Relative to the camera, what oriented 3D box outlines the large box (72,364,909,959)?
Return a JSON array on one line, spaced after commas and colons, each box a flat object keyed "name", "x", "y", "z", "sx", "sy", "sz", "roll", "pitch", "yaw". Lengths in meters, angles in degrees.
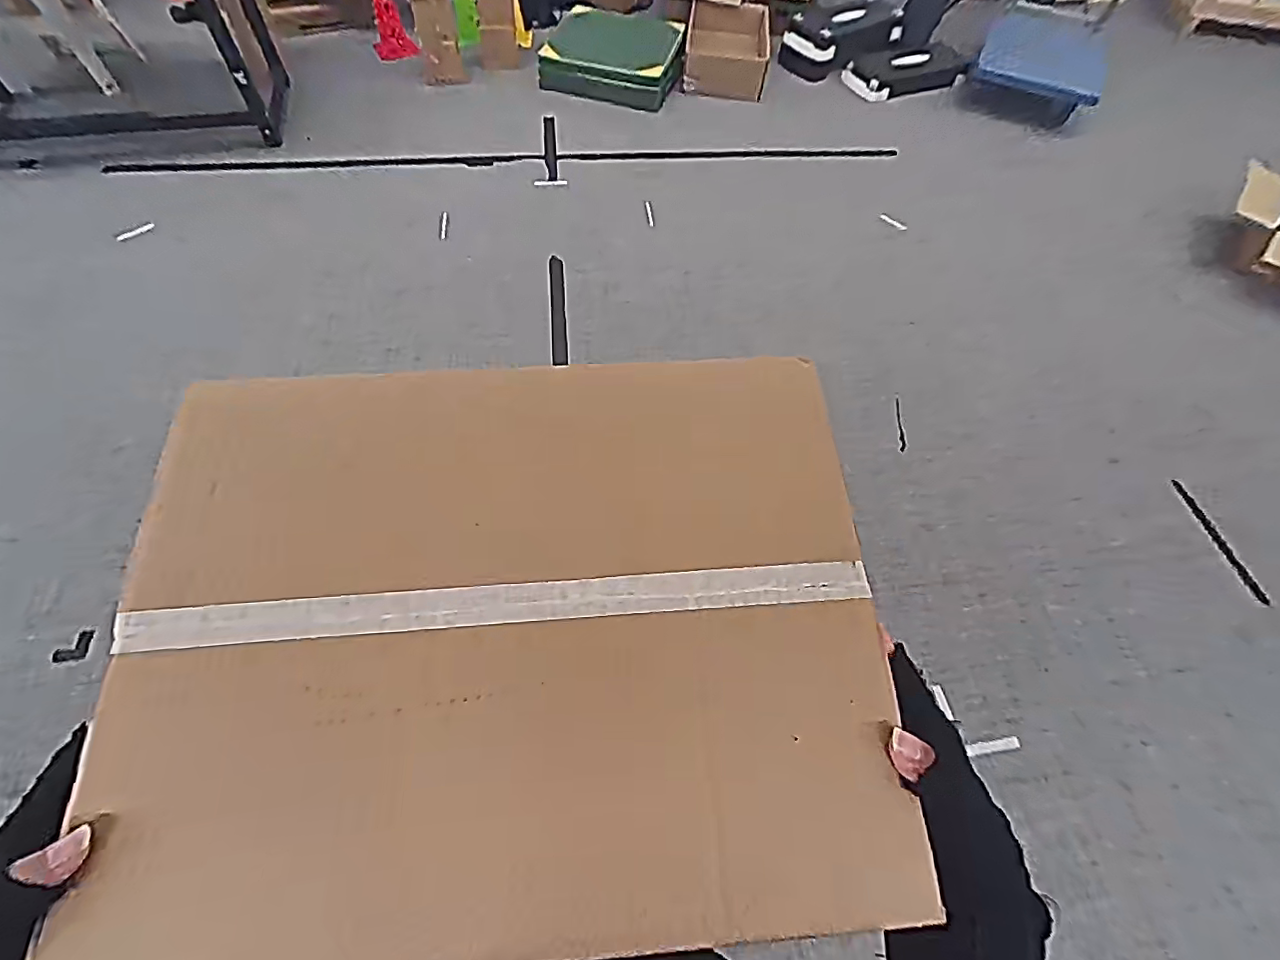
[{"name": "large box", "x": -0.080, "y": 0.128, "z": 0.450, "sx": 0.408, "sy": 0.320, "sz": 0.320, "roll": -3, "pitch": 68, "yaw": -4}]
